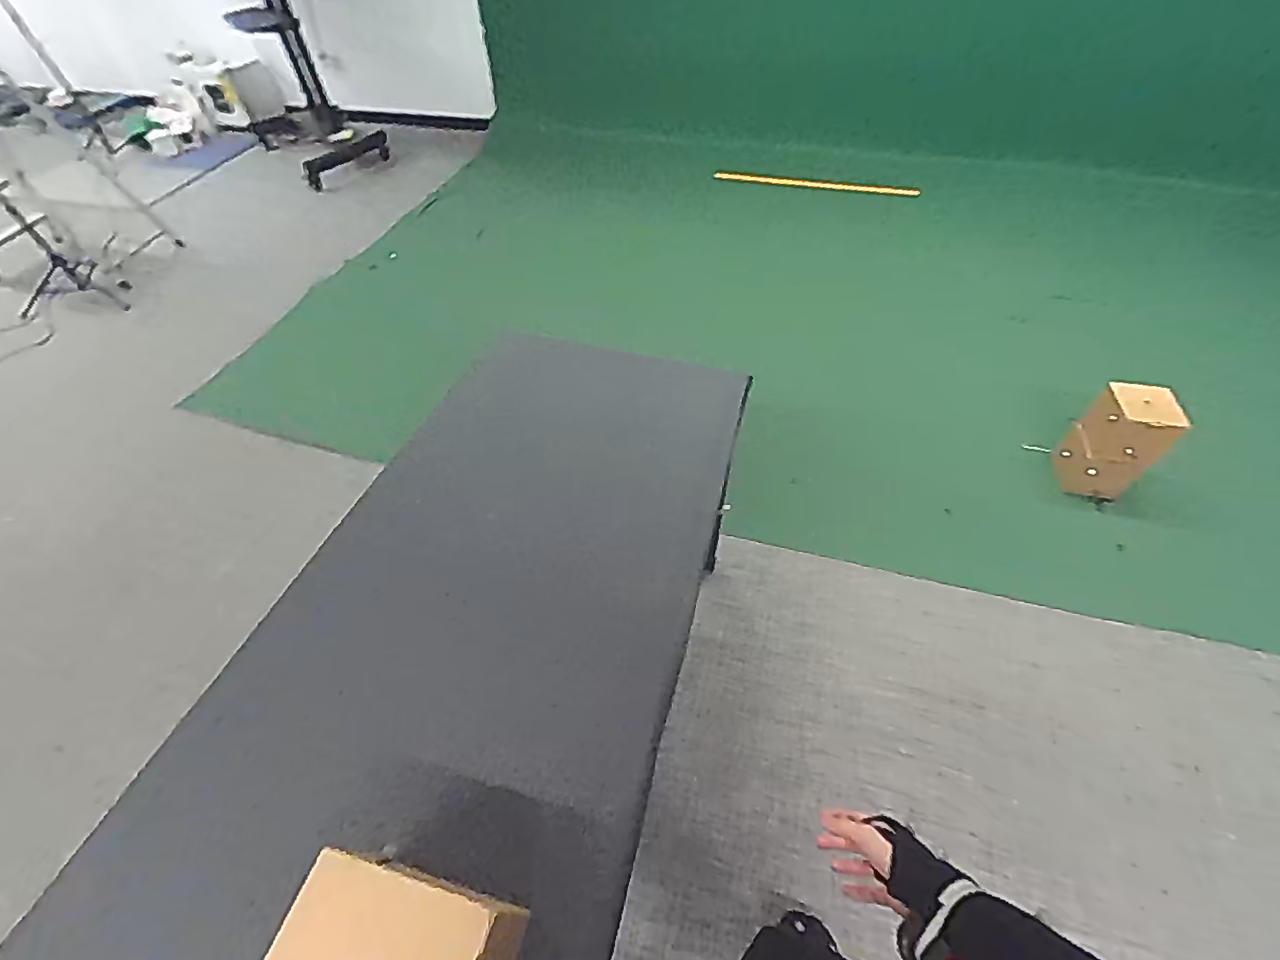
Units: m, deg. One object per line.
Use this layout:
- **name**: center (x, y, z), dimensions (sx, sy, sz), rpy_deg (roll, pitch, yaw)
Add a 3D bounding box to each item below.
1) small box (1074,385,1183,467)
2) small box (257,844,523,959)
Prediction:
- **small box**: center (1.503, -0.168, 1.680), dimensions (0.168, 0.176, 0.179), rpy_deg (9, 52, 8)
- **small box**: center (-0.228, 0.458, 0.489), dimensions (0.179, 0.176, 0.168), rpy_deg (11, 53, 10)
